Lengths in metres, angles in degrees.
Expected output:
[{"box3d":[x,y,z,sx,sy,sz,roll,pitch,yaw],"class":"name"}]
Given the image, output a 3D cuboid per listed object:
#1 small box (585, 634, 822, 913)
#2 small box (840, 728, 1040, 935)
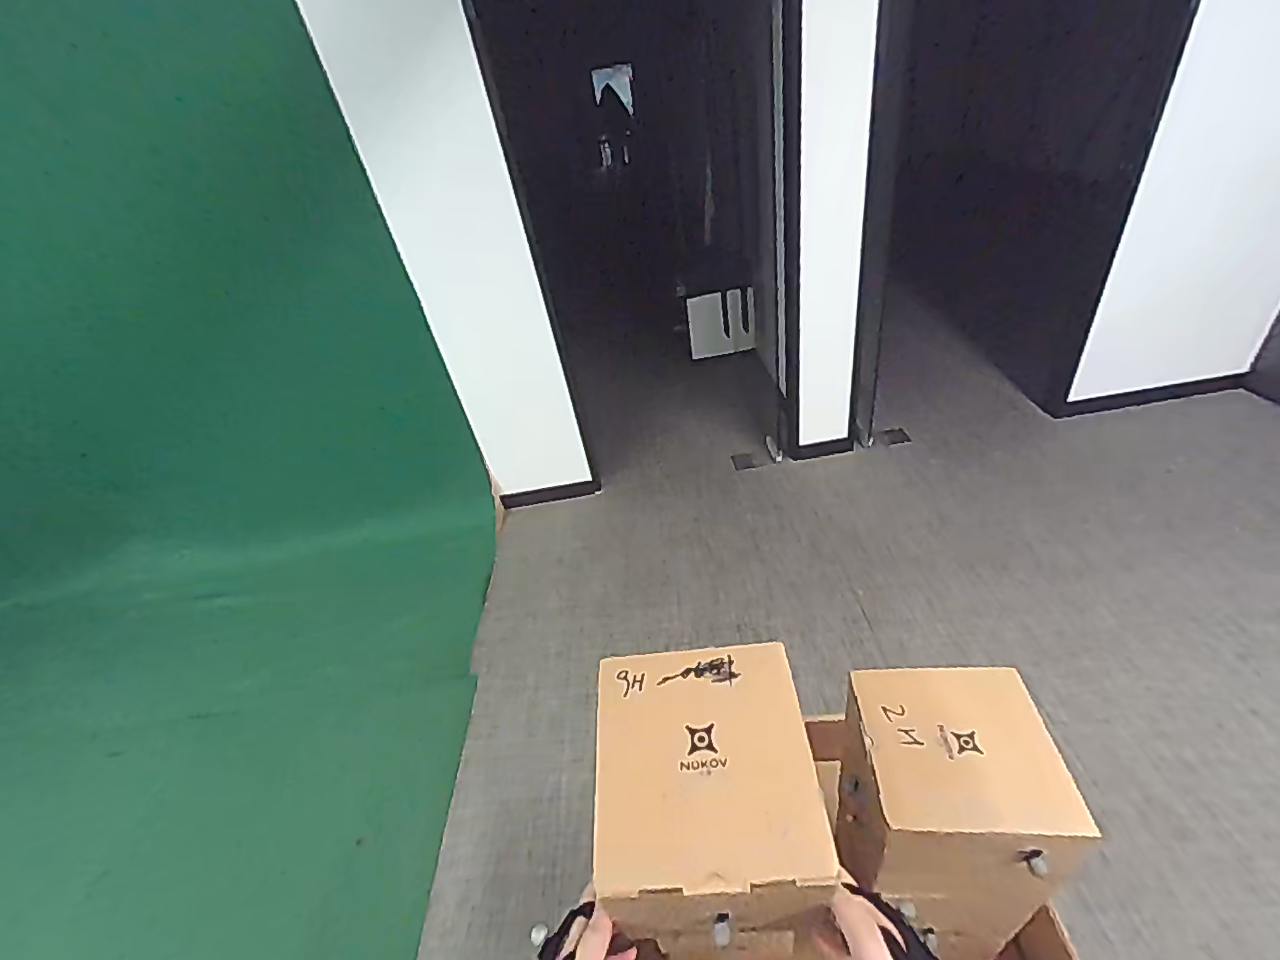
[{"box3d":[0.053,0.263,0.478,0.168,0.176,0.179,-7,43,5],"class":"small box"},{"box3d":[0.358,0.442,0.688,0.168,0.176,0.179,-6,38,10],"class":"small box"}]
